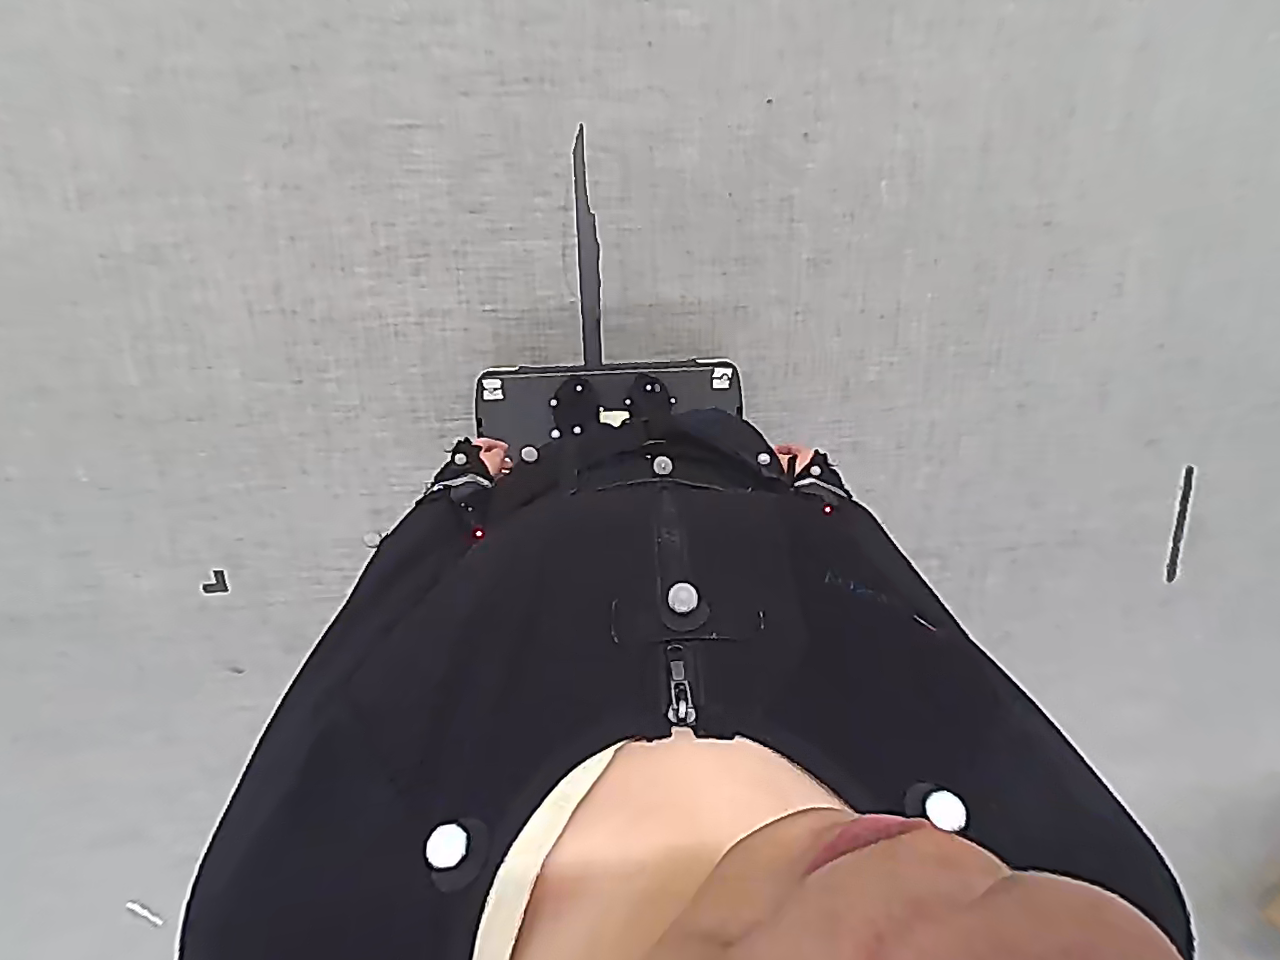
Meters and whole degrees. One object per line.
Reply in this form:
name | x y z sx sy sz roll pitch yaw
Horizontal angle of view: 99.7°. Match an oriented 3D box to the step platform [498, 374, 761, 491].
step platform | -0.028 -0.128 1.440 0.684 0.204 0.286 1 102 -5
